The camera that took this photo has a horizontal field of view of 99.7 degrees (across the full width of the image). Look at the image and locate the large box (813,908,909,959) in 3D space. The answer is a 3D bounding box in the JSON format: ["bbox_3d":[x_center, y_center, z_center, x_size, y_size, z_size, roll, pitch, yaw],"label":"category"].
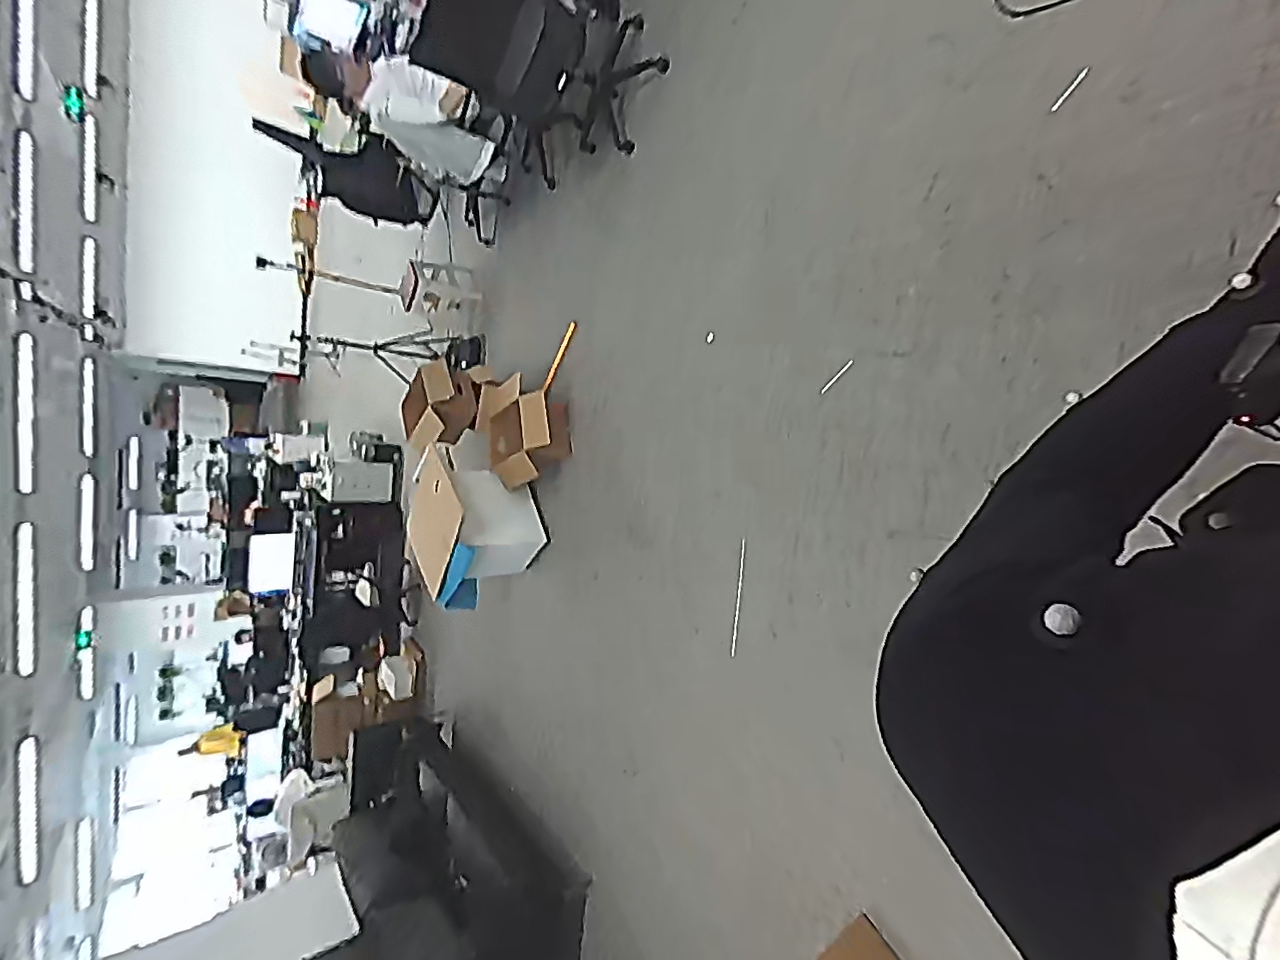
[{"bbox_3d":[0.675,1.596,1.568,0.408,0.320,0.320,42,121,40],"label":"large box"}]
